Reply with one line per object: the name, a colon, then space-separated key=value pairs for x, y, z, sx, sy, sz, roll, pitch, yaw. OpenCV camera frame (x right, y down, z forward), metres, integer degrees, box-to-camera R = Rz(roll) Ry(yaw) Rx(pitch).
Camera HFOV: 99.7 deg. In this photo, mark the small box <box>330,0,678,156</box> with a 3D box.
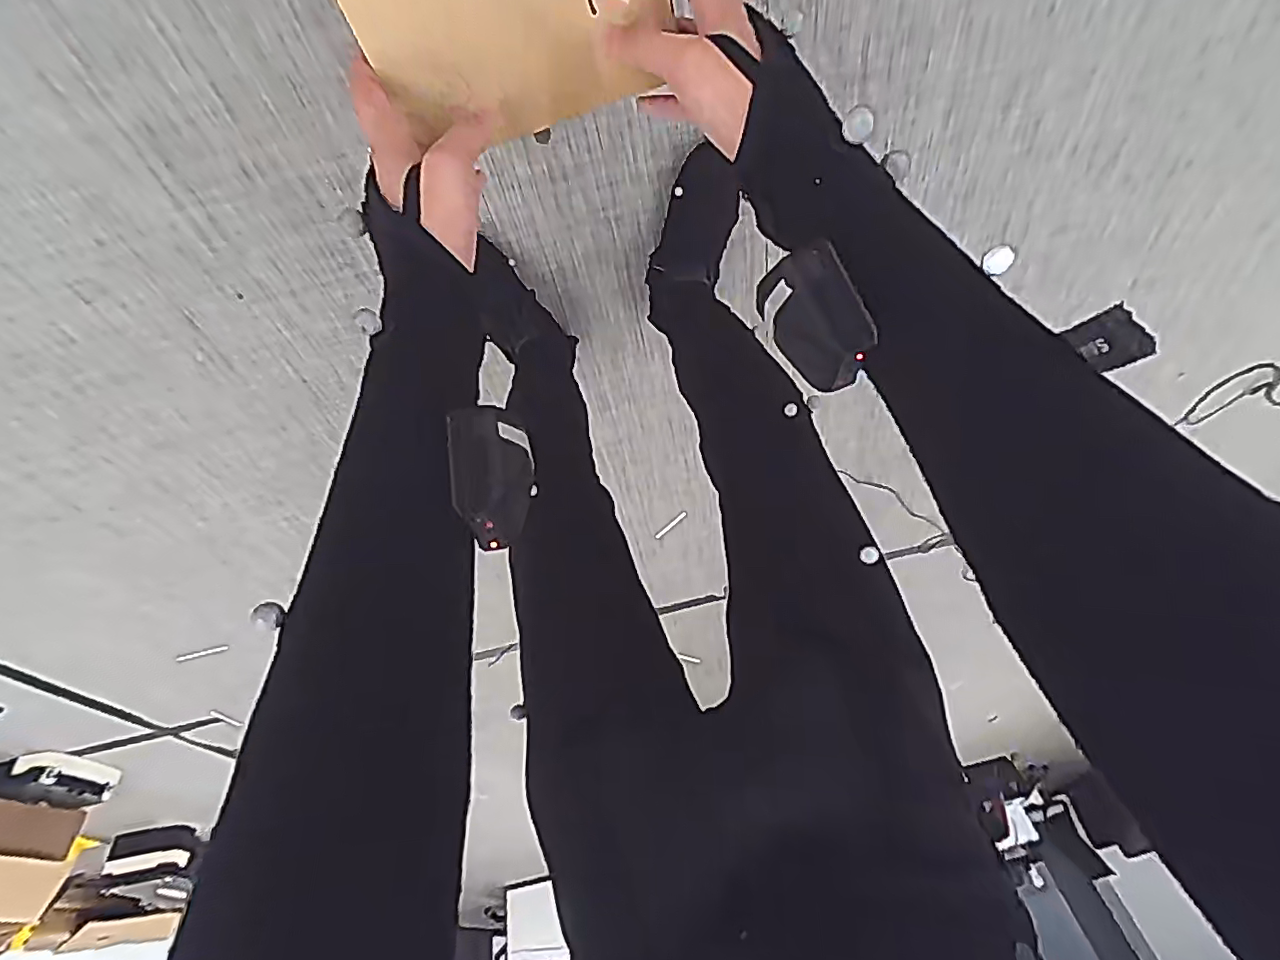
small box: x=-0.092 y=-0.331 z=0.327 sx=0.179 sy=0.176 sz=0.168 roll=-18 pitch=136 yaw=5
